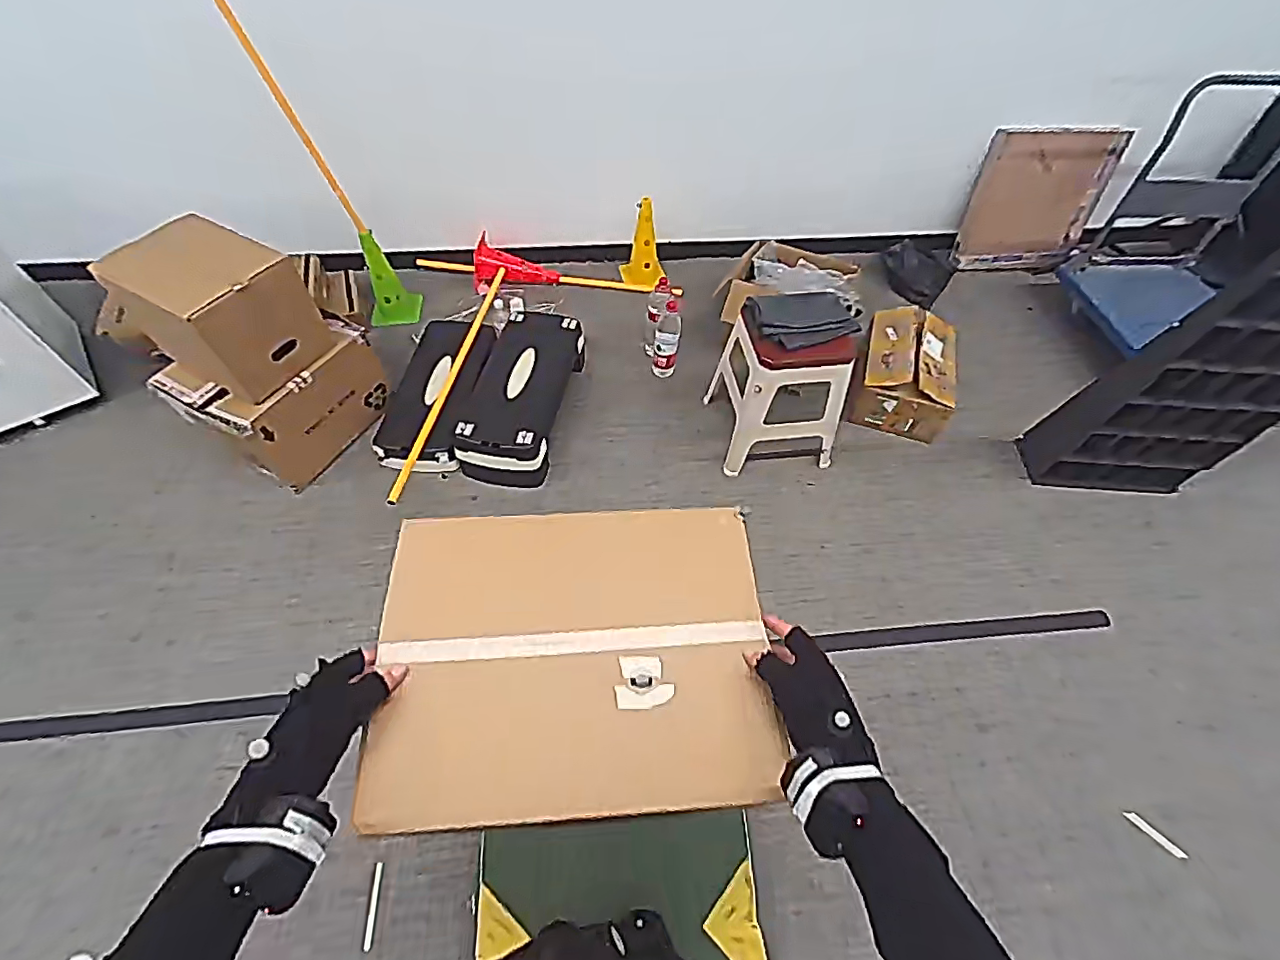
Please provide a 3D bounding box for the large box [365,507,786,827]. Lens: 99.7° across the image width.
[{"bbox_3d":[-0.075,0.251,0.708,0.408,0.320,0.320,-2,58,-5],"label":"large box"}]
